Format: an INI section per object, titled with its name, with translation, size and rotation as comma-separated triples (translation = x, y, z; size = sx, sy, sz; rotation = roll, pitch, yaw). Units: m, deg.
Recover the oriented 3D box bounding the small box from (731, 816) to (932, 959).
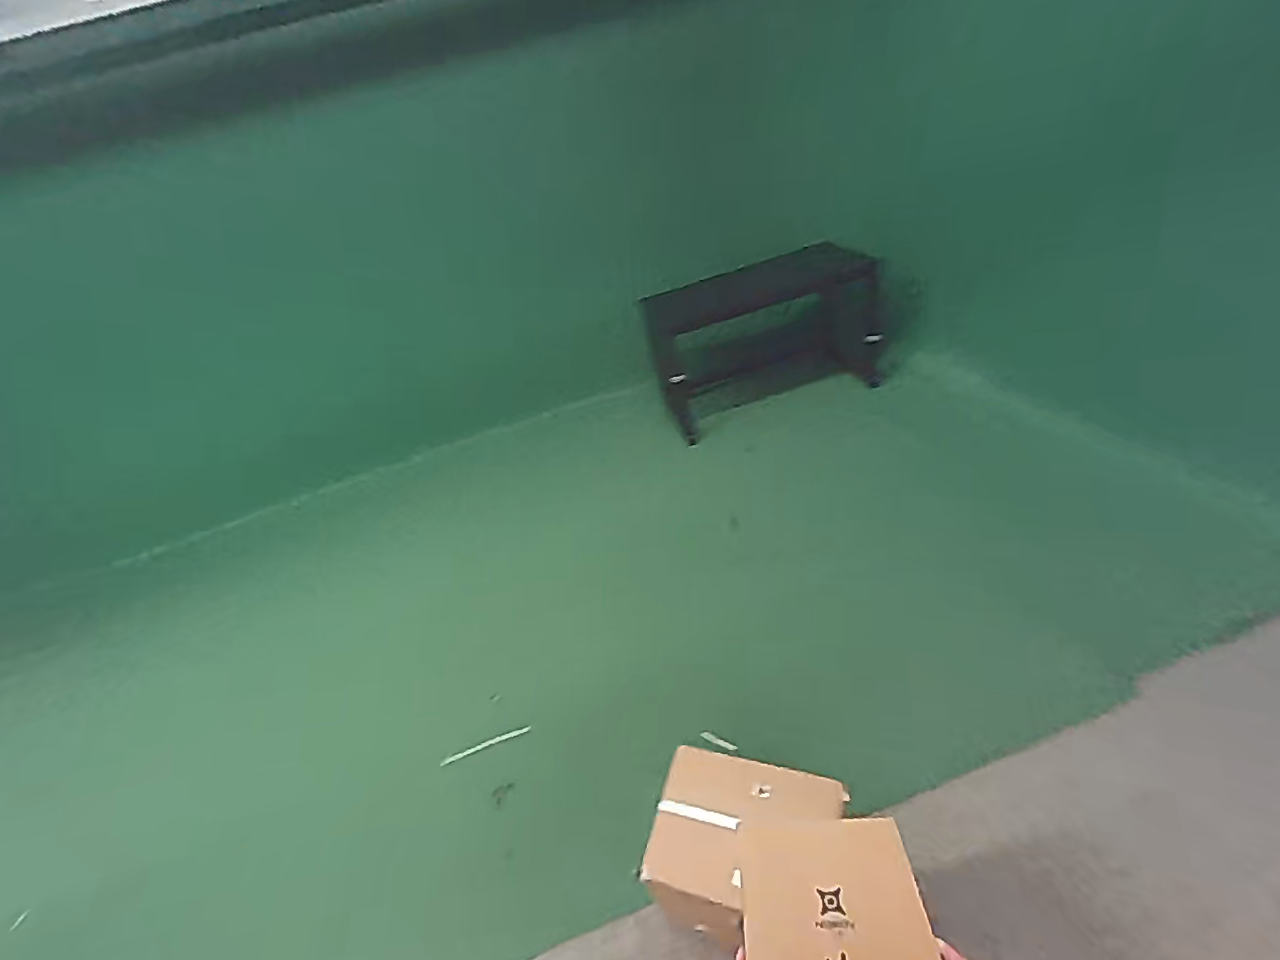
[small box]
translation = 0.184, 0.471, 0.534
size = 0.168, 0.176, 0.179
rotation = -8, 26, 8
